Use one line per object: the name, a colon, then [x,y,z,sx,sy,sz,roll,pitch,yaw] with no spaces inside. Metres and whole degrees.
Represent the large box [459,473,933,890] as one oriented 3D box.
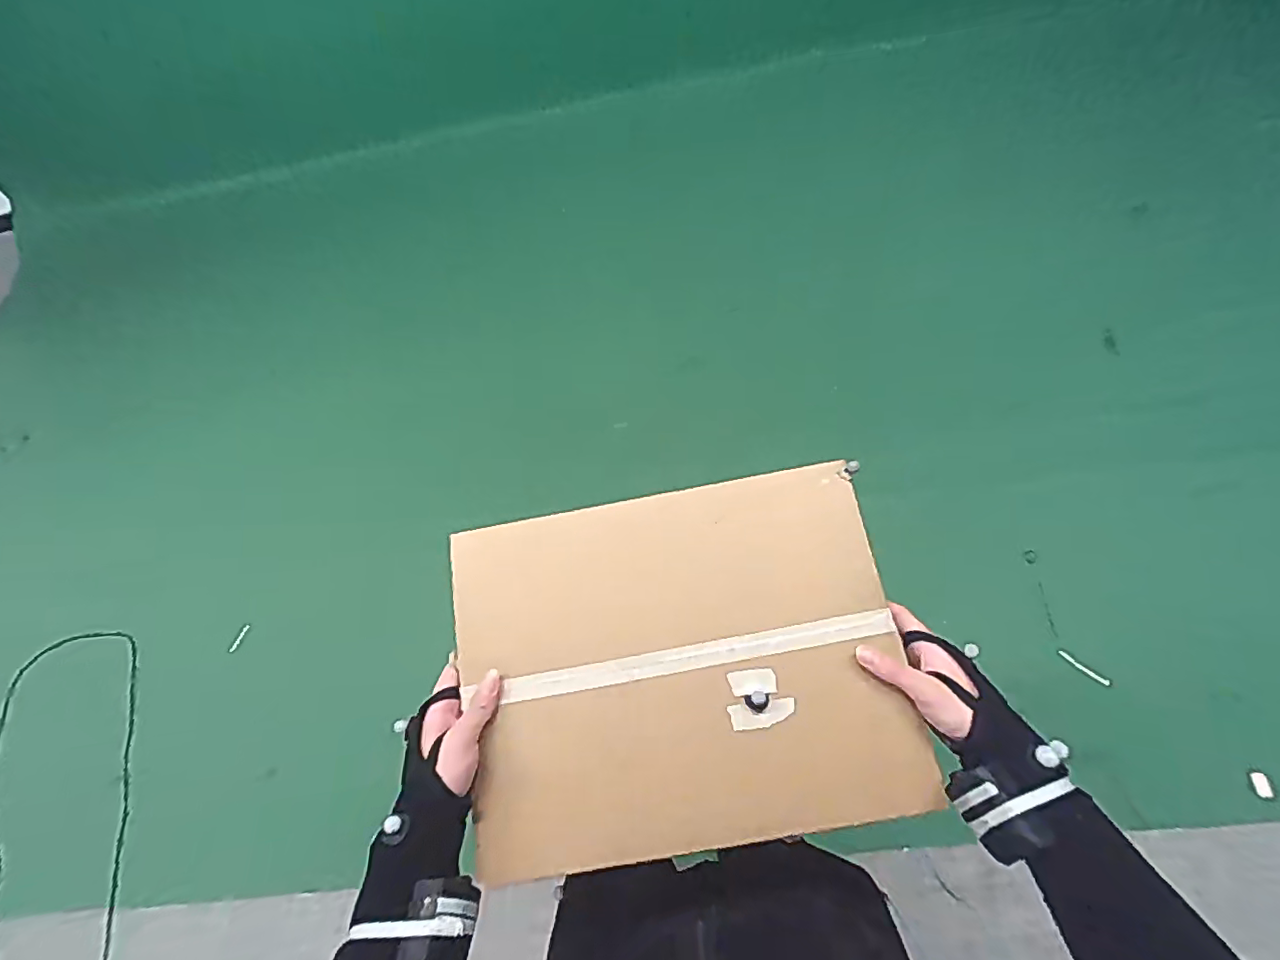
large box: [0.043,0.218,0.654,0.408,0.320,0.320,-11,74,1]
